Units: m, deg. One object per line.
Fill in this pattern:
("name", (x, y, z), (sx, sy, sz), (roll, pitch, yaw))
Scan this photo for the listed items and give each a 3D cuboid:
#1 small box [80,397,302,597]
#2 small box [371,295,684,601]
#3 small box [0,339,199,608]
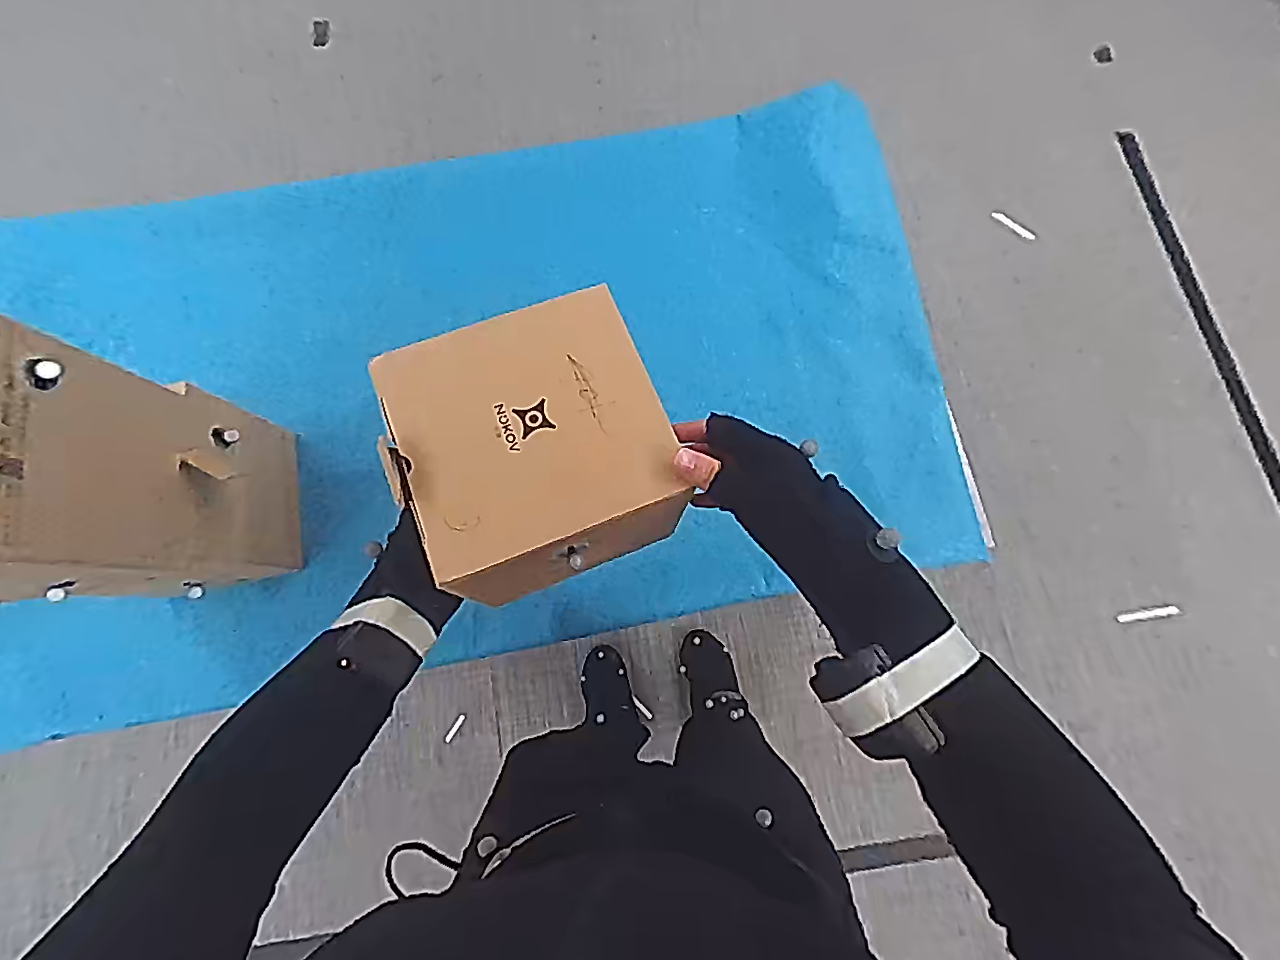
("small box", (-0.494, 0.029, 0.581), (0.168, 0.176, 0.179), (-9, 79, 1))
("small box", (-0.079, -0.010, 0.436), (0.179, 0.176, 0.168), (-20, 75, -7))
("small box", (-0.492, 0.005, 0.416), (0.179, 0.176, 0.168), (-10, 77, -1))
